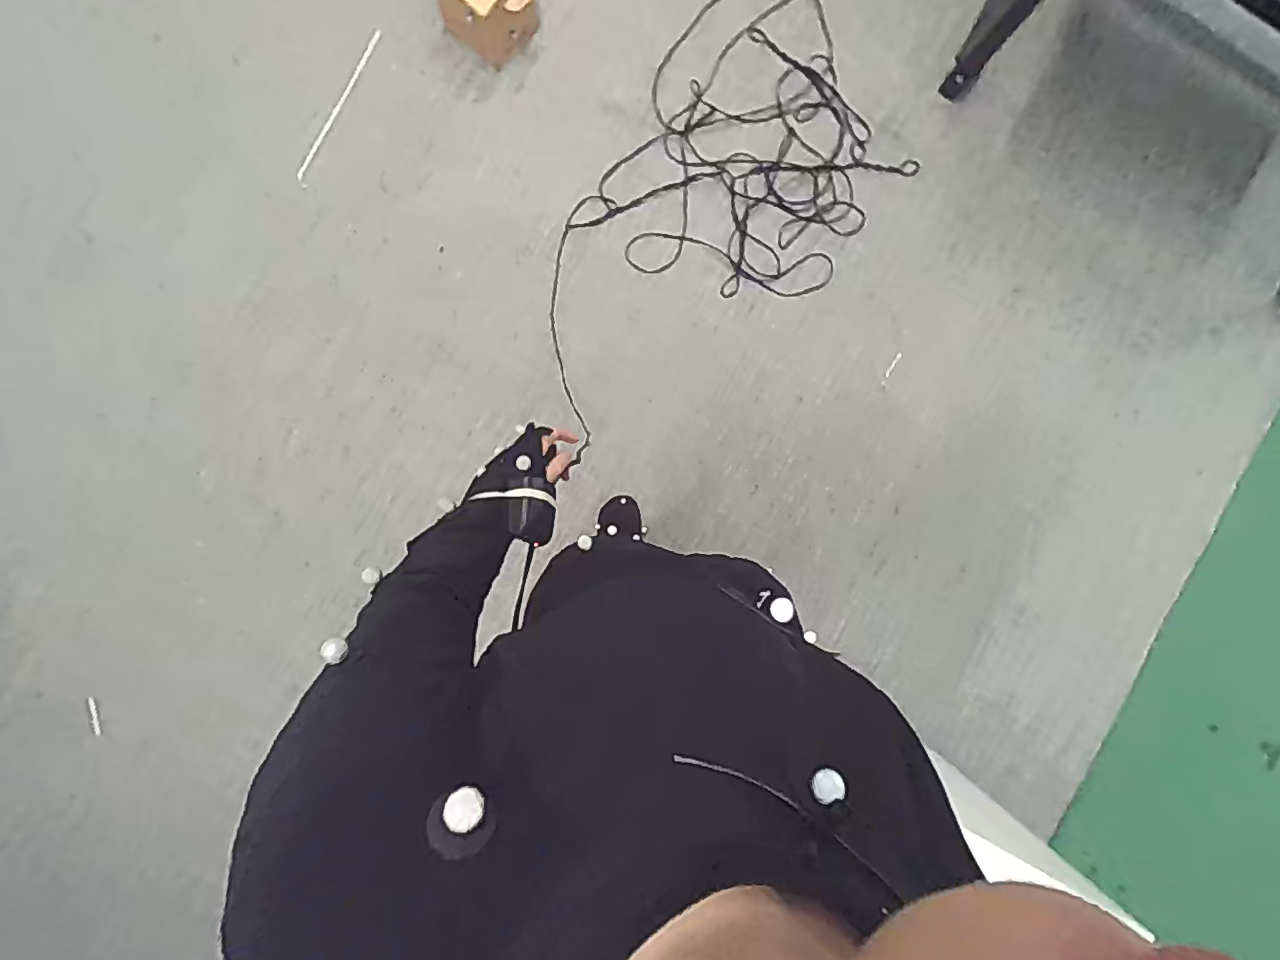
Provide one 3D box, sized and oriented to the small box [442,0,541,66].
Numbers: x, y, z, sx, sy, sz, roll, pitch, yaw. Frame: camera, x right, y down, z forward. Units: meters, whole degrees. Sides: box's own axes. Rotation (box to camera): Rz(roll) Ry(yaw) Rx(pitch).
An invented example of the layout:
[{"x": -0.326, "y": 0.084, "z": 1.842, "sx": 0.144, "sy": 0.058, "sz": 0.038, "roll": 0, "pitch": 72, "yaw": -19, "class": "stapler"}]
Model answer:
[{"x": -0.351, "y": -1.124, "z": 1.251, "sx": 0.179, "sy": 0.176, "sz": 0.168, "roll": 39, "pitch": 88, "yaw": -4, "class": "small box"}]
